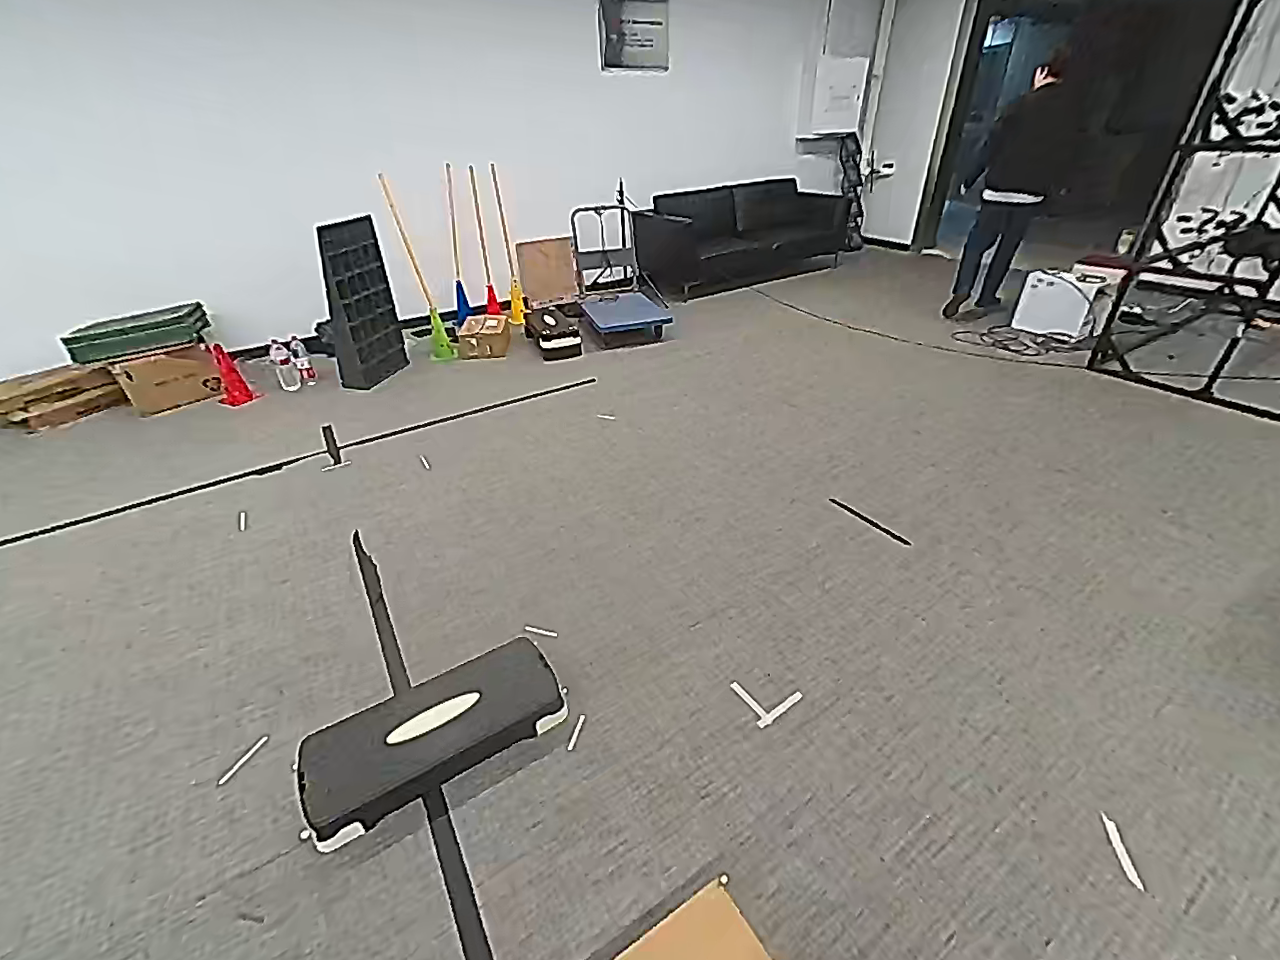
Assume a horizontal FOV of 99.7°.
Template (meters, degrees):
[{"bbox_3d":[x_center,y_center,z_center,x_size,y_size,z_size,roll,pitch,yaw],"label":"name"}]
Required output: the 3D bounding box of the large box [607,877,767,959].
[{"bbox_3d":[0.045,0.957,0.842,0.408,0.320,0.320,-19,37,-27],"label":"large box"}]
